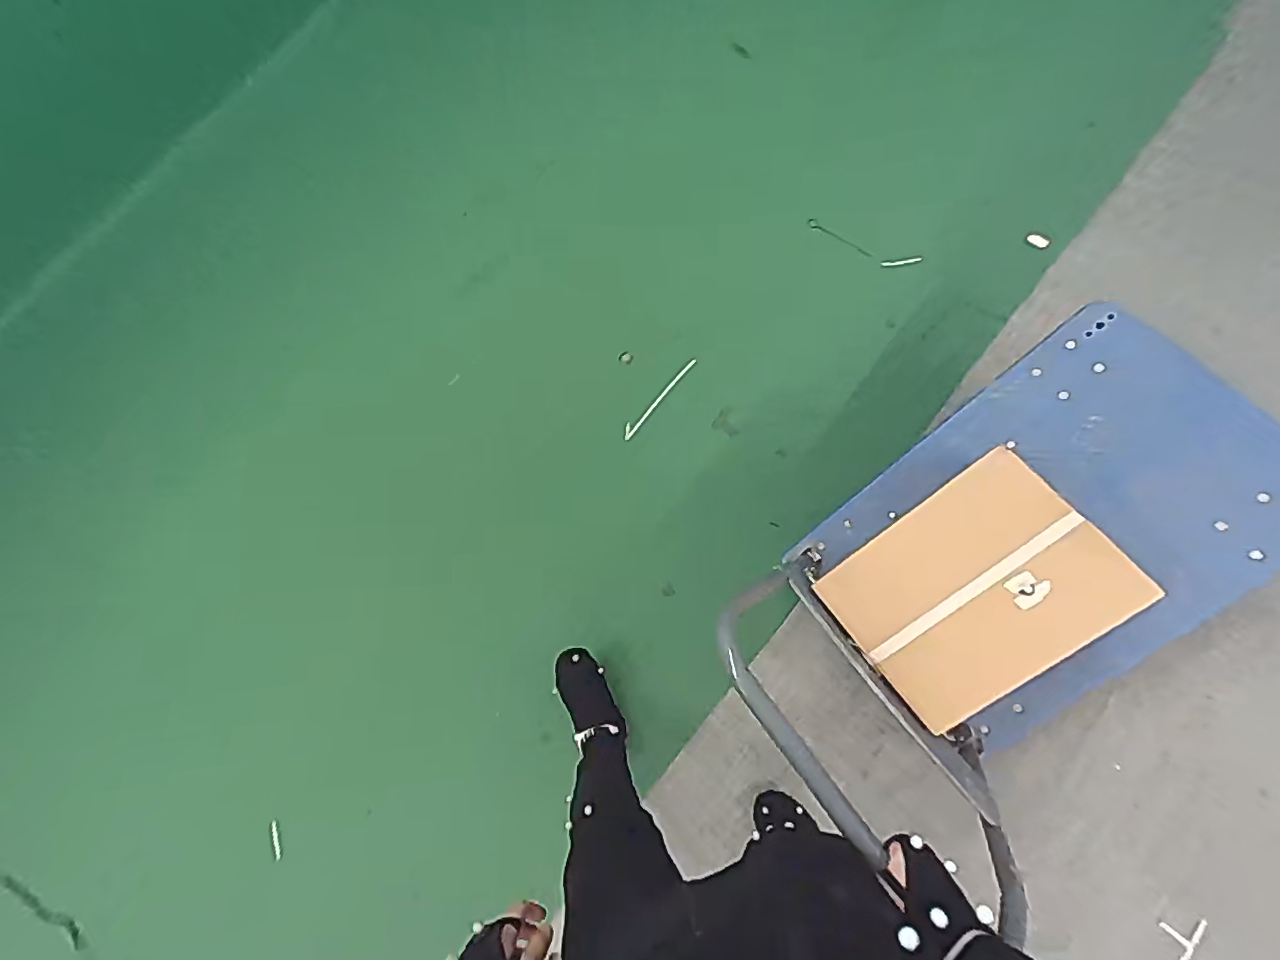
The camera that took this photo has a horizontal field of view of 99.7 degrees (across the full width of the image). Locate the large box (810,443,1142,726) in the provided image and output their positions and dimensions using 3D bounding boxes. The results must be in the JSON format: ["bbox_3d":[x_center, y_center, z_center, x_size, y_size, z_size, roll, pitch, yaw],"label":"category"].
[{"bbox_3d":[0.600,0.194,1.056,0.408,0.320,0.320,-41,72,13],"label":"large box"}]
